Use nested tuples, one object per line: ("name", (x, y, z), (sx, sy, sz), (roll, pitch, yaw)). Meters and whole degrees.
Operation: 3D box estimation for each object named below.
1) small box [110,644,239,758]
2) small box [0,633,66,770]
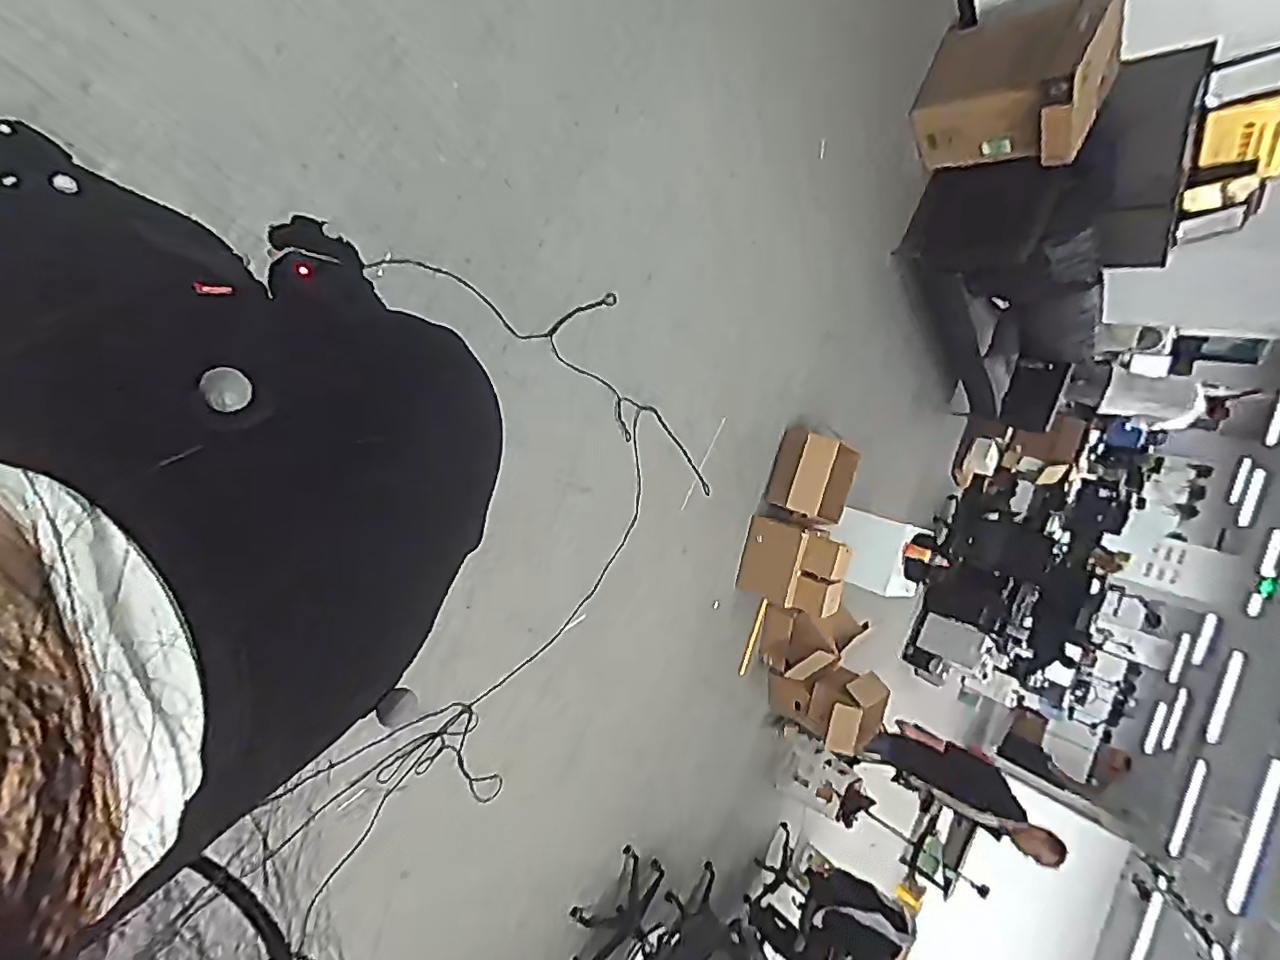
("small box", (-1.037, 0.482, 1.199), (0.168, 0.176, 0.179), (27, 85, -48))
("small box", (-1.210, 0.402, 0.995), (0.168, 0.176, 0.179), (36, 77, -47))
